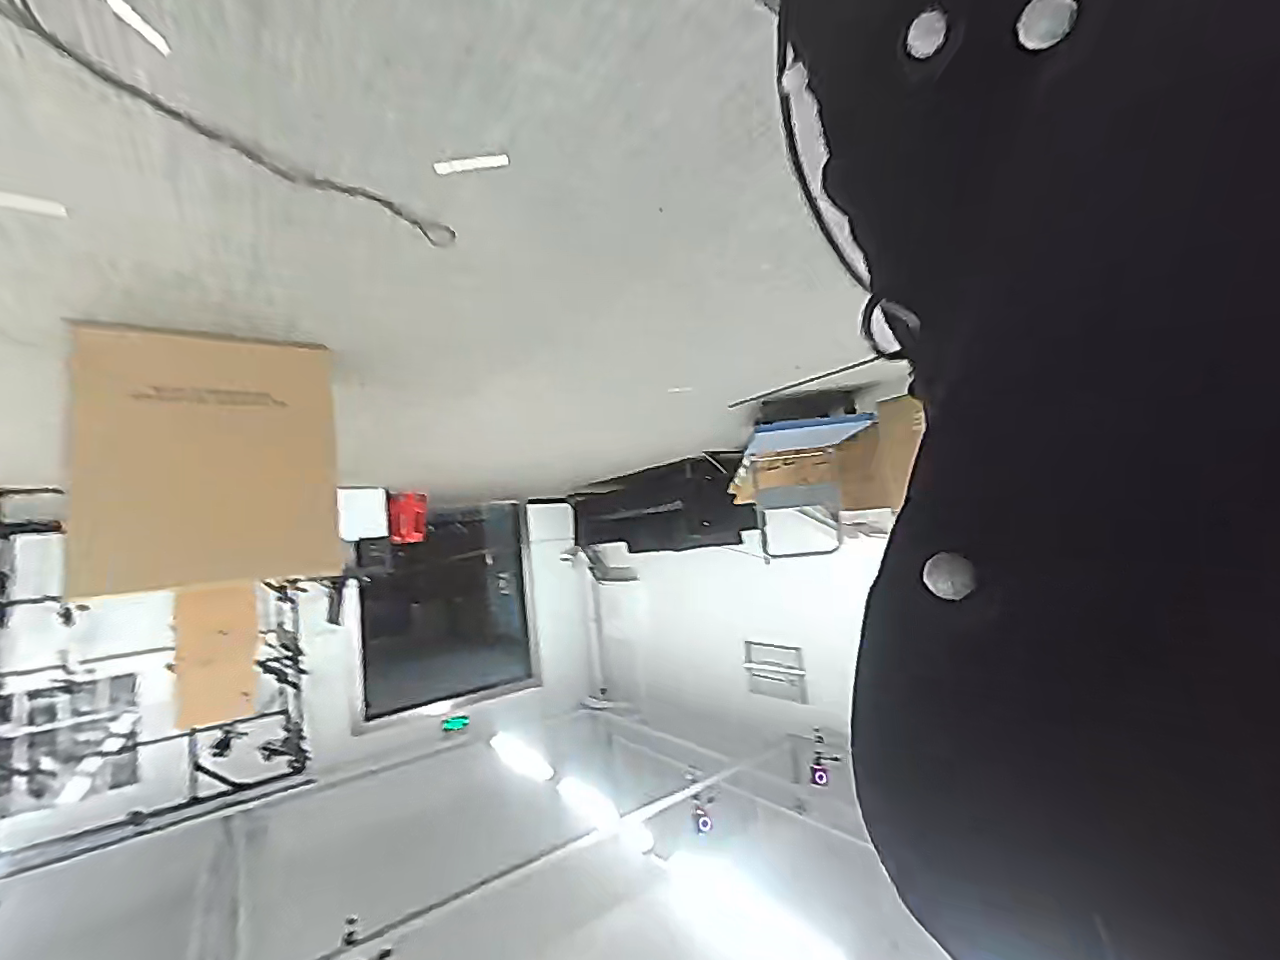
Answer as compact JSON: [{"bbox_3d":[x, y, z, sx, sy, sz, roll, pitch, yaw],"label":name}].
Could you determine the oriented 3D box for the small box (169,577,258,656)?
[{"bbox_3d":[-1.112,0.351,1.417,0.179,0.176,0.168,-3,174,-35],"label":"small box"}]
